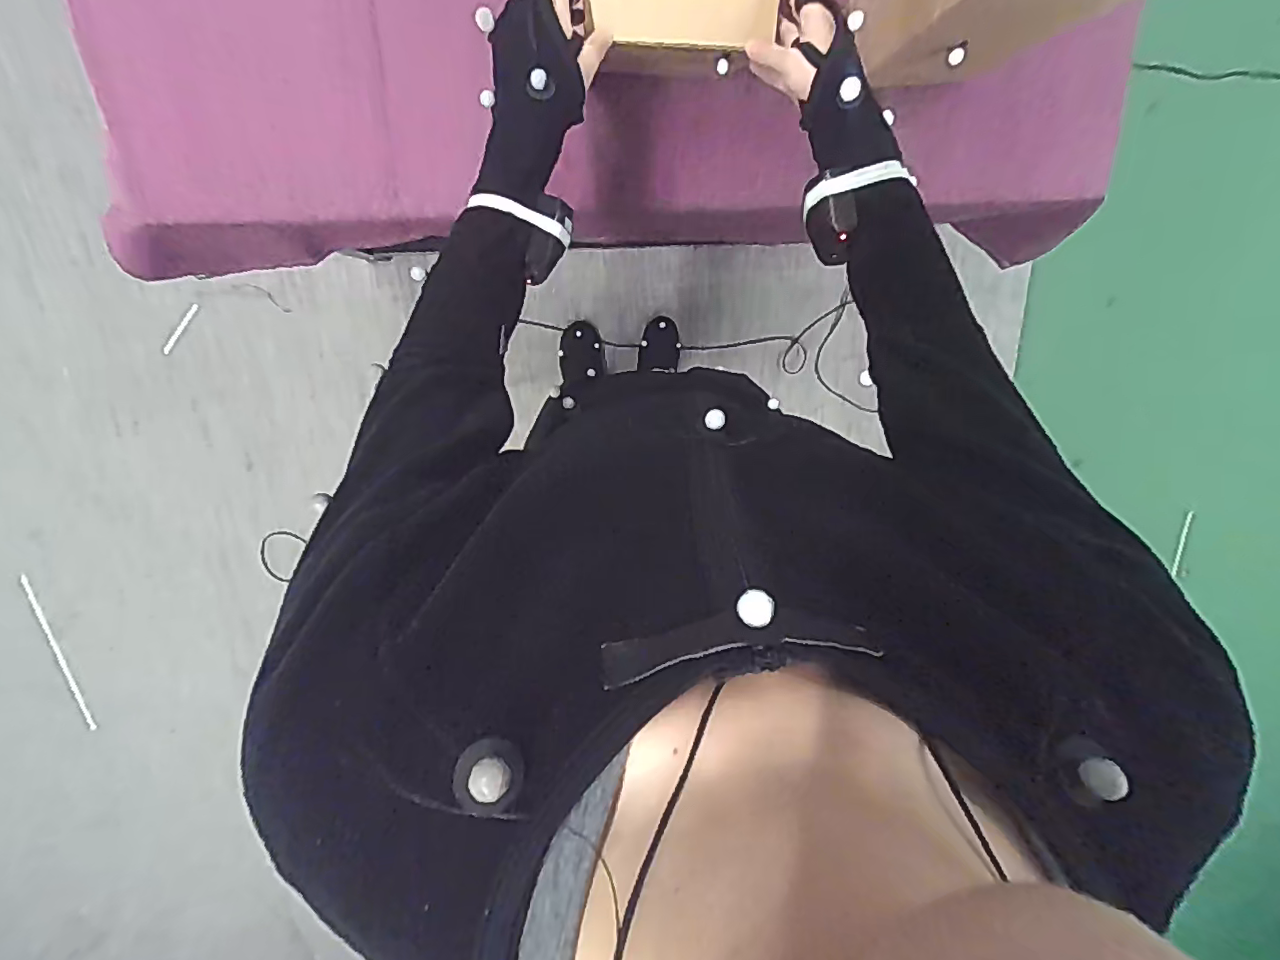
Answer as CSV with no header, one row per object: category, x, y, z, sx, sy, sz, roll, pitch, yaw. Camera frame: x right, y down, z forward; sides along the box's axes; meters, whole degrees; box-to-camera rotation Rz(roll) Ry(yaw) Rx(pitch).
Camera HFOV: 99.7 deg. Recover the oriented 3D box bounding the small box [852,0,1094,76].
small box,0.340,-0.550,0.562,0.179,0.176,0.168,-7,108,-5
